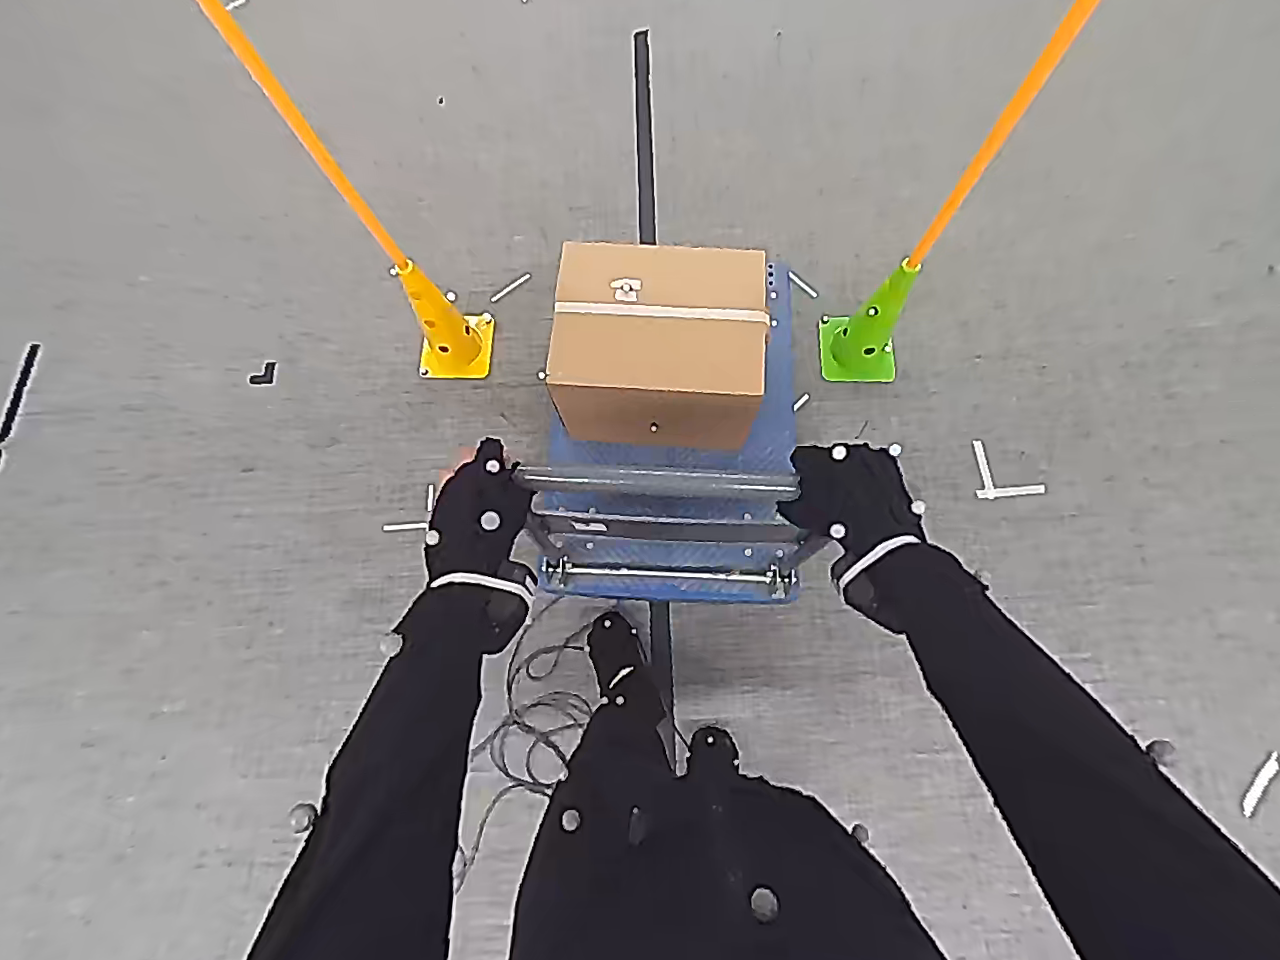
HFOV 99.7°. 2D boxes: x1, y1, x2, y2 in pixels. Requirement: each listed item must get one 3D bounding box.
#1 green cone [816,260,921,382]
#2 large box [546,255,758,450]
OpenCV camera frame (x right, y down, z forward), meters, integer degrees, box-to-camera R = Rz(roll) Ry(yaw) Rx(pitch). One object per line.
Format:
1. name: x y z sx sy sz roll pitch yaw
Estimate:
1. green cone: 0.596 -0.414 1.358 0.202 0.368 0.200 1 74 1
2. large box: 0.037 -0.262 1.187 0.408 0.320 0.320 3 74 4
